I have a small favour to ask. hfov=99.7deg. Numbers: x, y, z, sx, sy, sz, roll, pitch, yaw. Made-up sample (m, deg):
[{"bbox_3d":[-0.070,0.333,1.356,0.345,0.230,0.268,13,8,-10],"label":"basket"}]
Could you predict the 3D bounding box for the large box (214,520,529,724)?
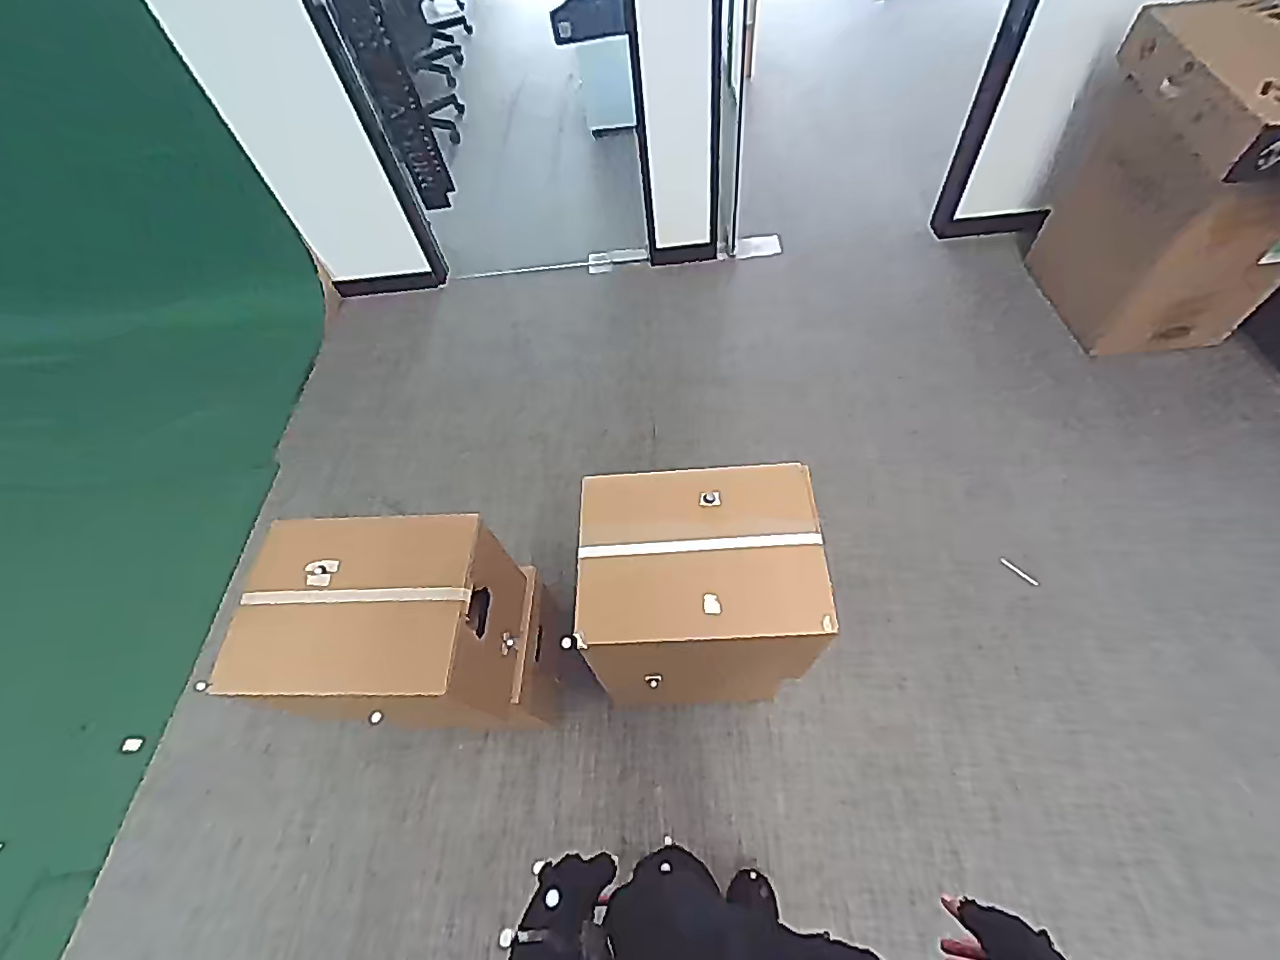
[{"bbox_3d":[-0.463,0.288,1.042,0.408,0.320,0.320,-2,58,7],"label":"large box"}]
